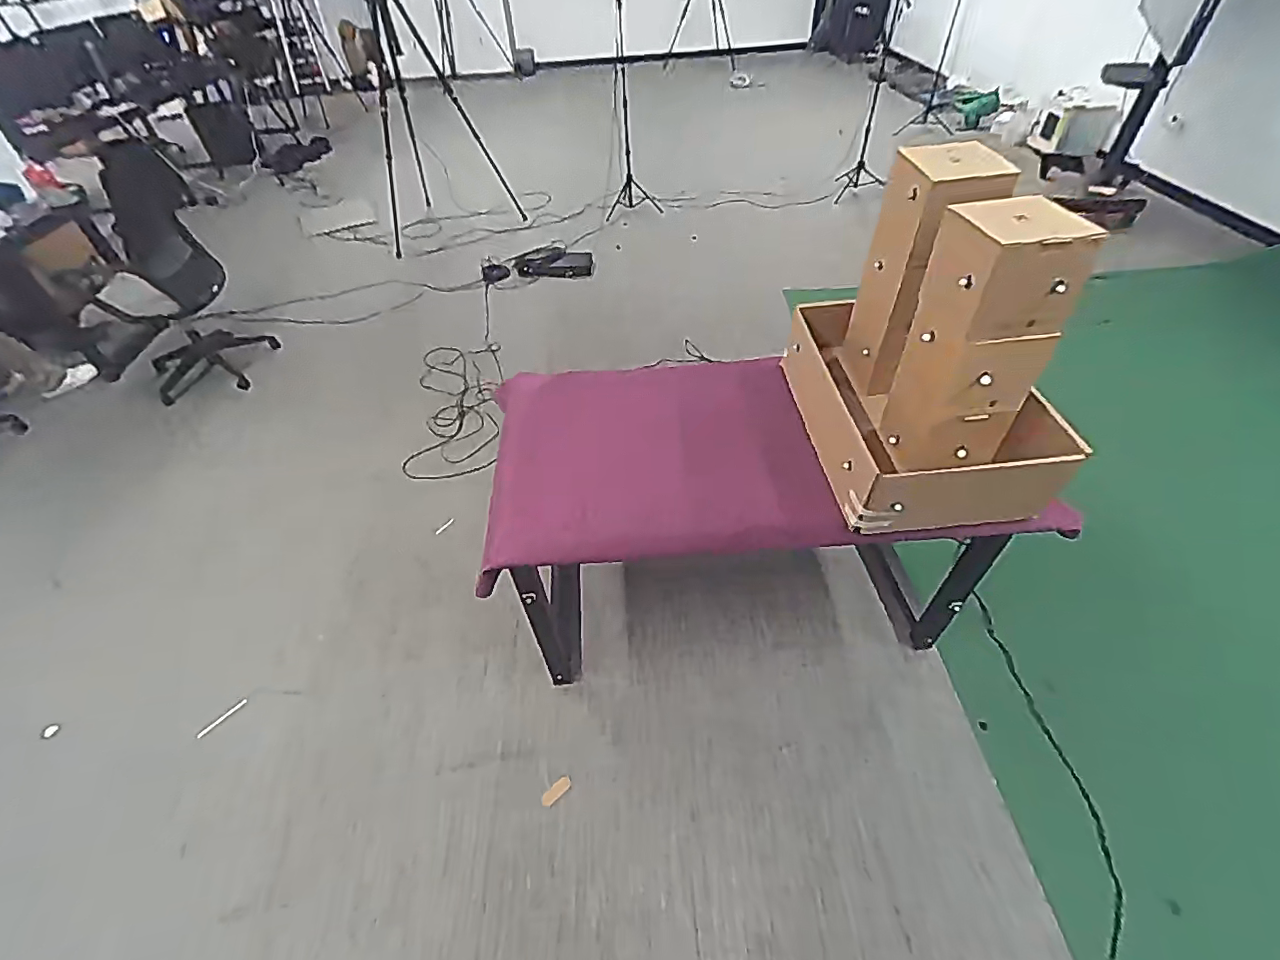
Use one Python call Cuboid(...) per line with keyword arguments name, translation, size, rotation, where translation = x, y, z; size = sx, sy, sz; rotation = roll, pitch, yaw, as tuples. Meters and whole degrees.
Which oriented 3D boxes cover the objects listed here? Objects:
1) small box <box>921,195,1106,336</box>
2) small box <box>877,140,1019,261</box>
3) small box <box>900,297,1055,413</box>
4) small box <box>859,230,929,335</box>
Cuboid(name="small box", translation=(0.609, -0.356, 0.911), size=(0.168, 0.176, 0.179), rotation=(-6, 45, 0))
Cuboid(name="small box", translation=(0.606, -0.557, 1.089), size=(0.168, 0.176, 0.179), rotation=(-5, 48, 0))
Cuboid(name="small box", translation=(0.623, -0.239, 1.025), size=(0.168, 0.176, 0.179), rotation=(-6, 45, 1))
Cuboid(name="small box", translation=(0.614, -0.449, 1.215), size=(0.168, 0.176, 0.179), rotation=(-6, 49, 0))
